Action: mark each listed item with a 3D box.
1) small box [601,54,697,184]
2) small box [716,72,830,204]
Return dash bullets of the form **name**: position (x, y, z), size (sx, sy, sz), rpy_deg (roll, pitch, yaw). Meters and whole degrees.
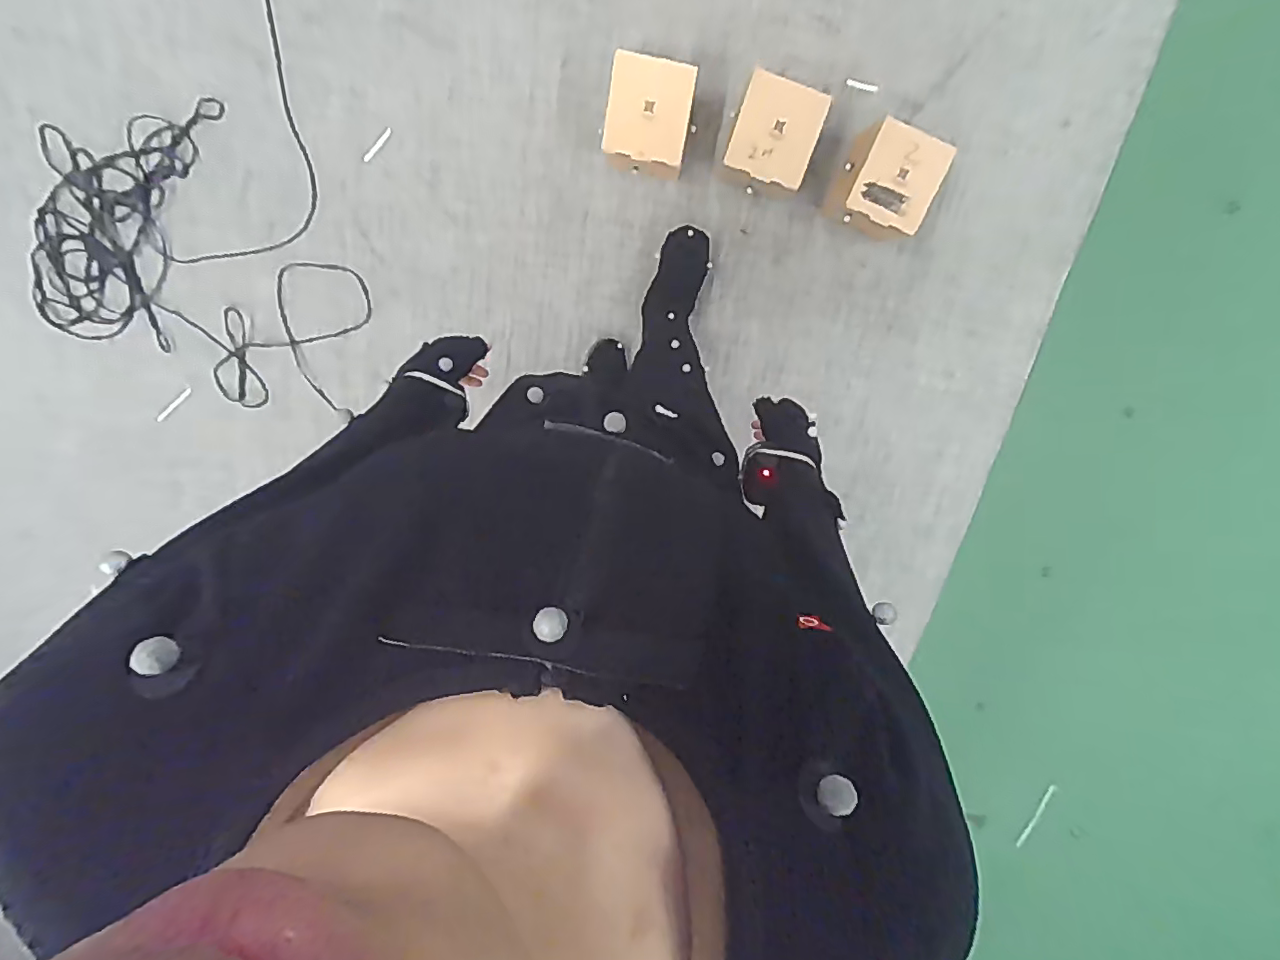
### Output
- **small box**: position (0.017, -0.751, 1.145), size (0.168, 0.176, 0.179), rpy_deg (10, 110, -2)
- **small box**: position (0.271, -0.714, 1.152), size (0.168, 0.176, 0.179), rpy_deg (18, 110, -5)
